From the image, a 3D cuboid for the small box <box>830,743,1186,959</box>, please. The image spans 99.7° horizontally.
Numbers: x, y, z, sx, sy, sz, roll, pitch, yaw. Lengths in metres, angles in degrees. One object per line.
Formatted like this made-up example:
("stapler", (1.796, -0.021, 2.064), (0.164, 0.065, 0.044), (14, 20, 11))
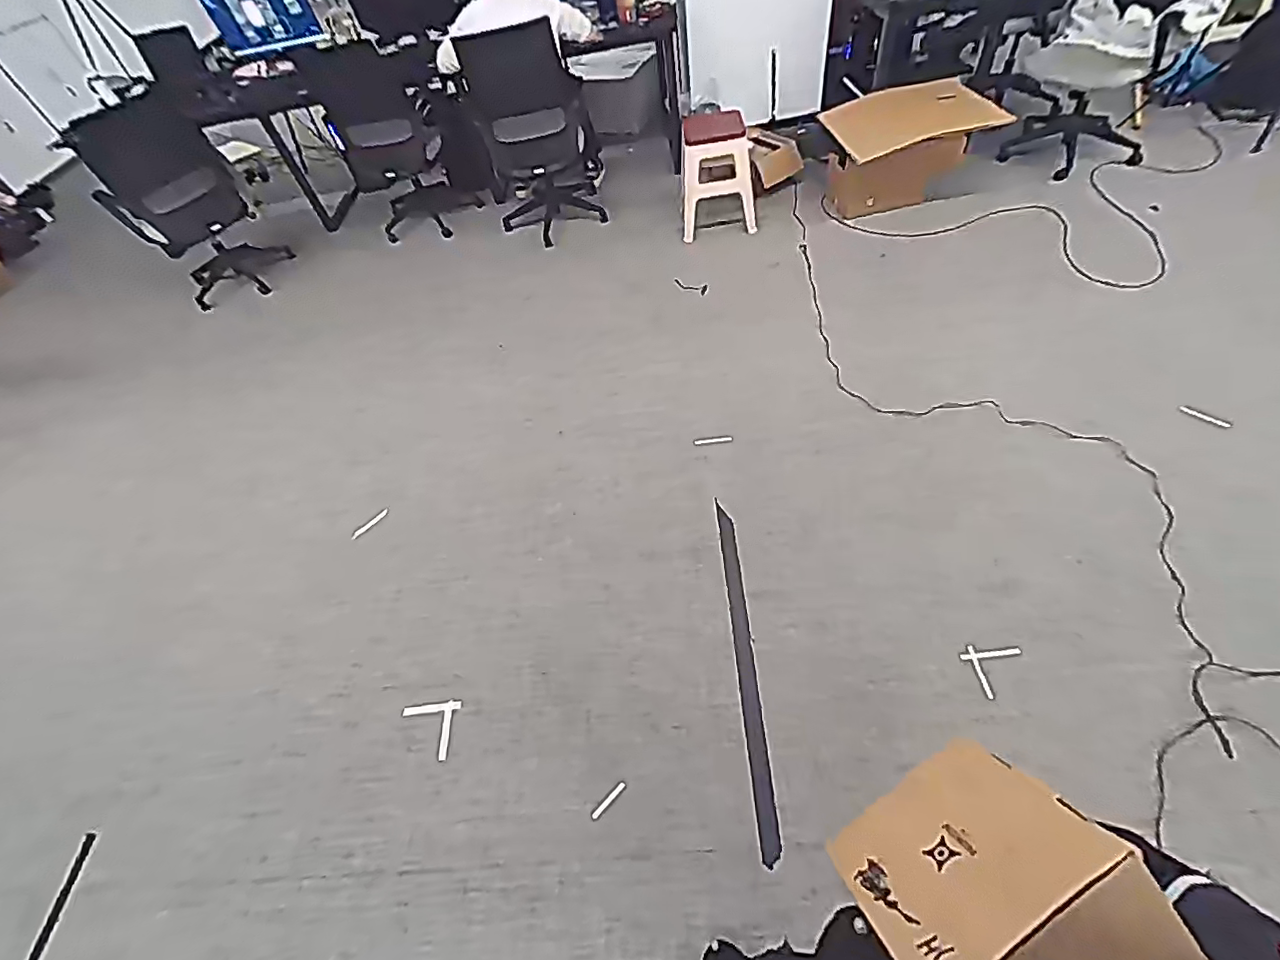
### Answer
("small box", (0.304, 0.372, 0.450), (0.179, 0.168, 0.176), (-35, 93, -5))
